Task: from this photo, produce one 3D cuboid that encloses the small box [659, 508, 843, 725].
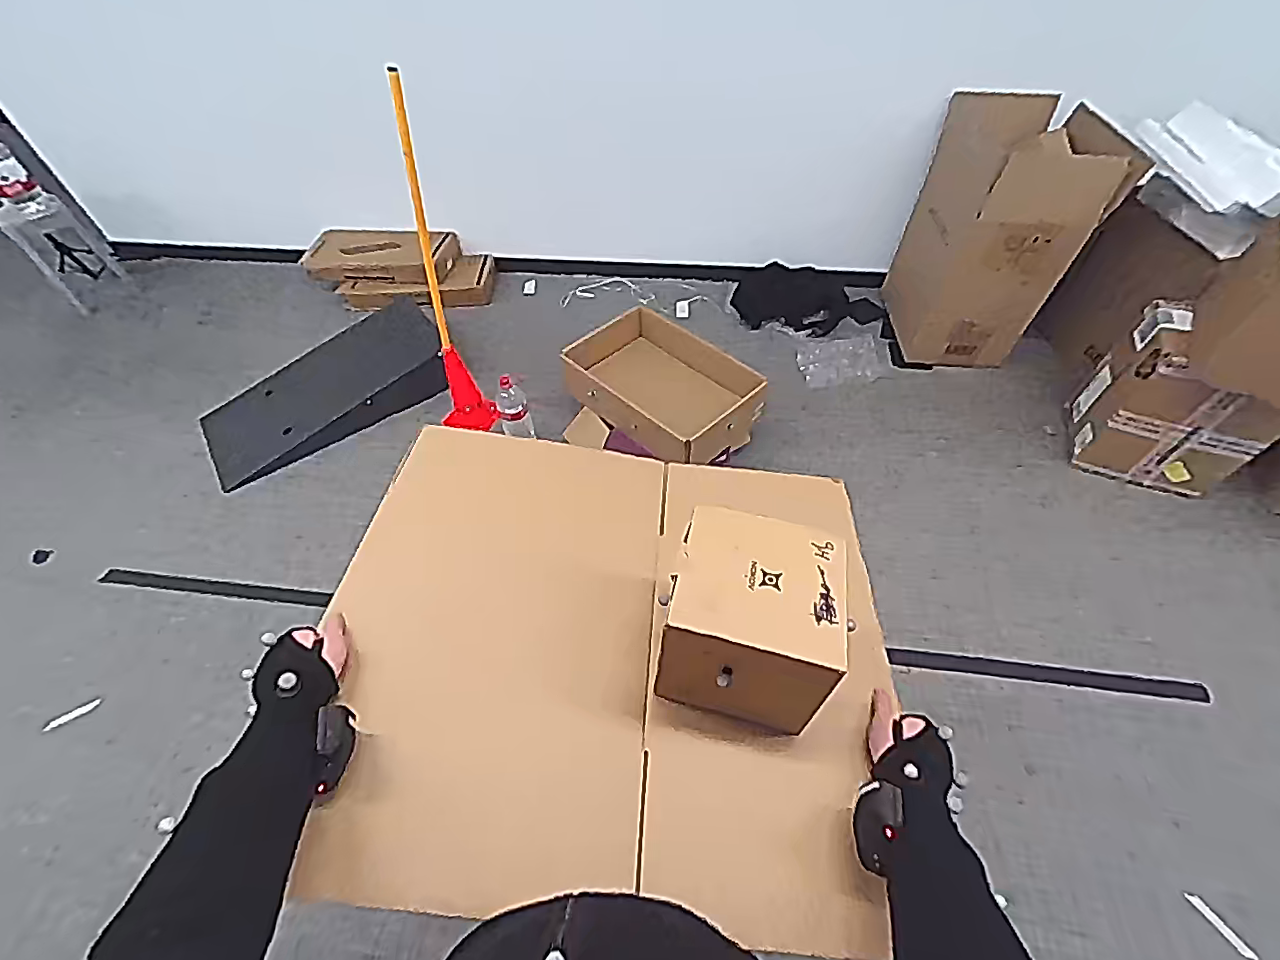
[{"bbox_3d":[0.124,0.161,0.632,0.179,0.176,0.168,12,47,9],"label":"small box"}]
